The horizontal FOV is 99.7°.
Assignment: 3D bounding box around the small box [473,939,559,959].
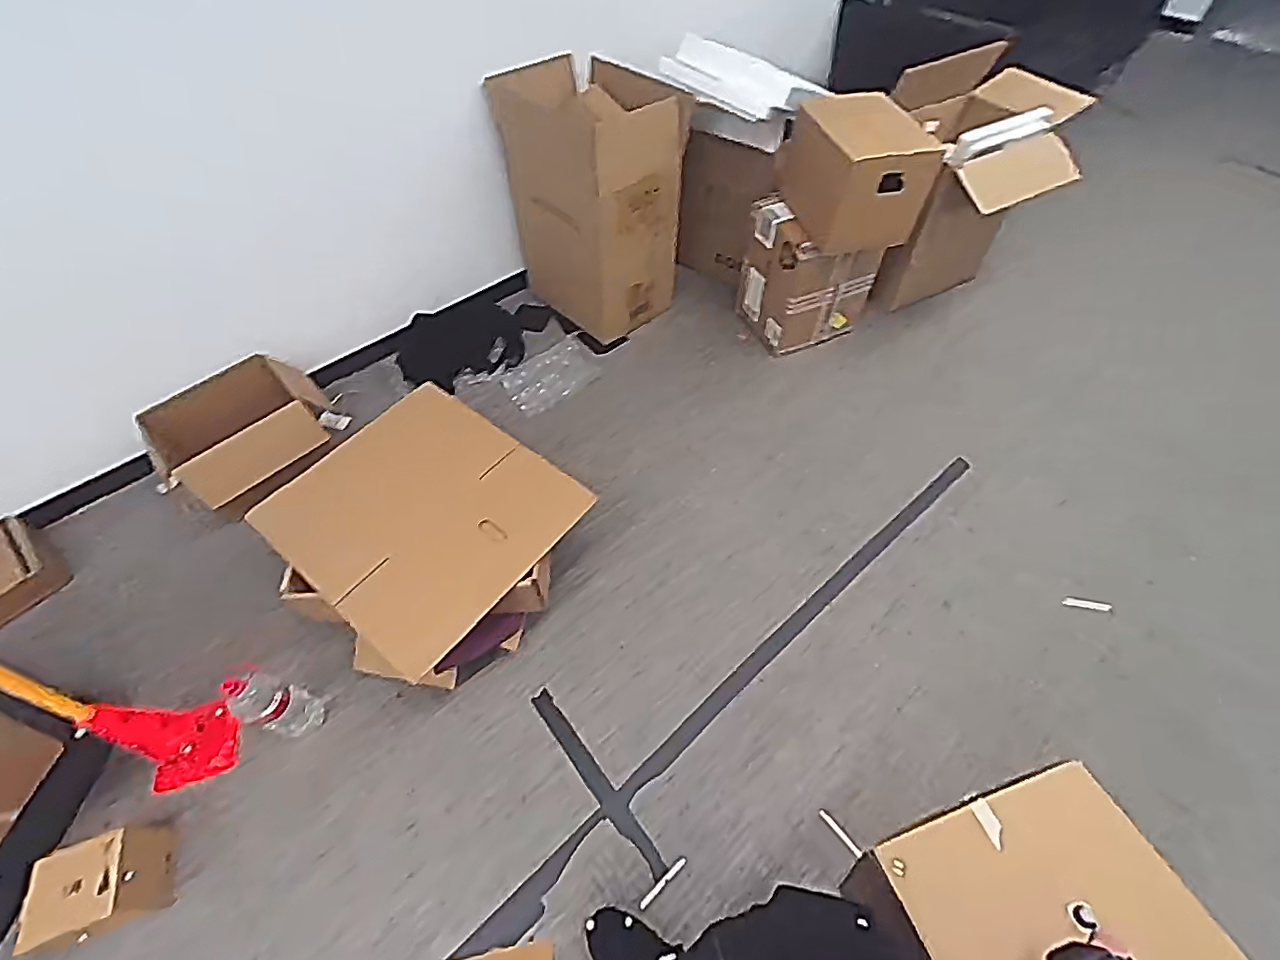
[{"bbox_3d":[-0.172,0.734,0.663,0.168,0.179,0.176,-5,89,-11],"label":"small box"}]
